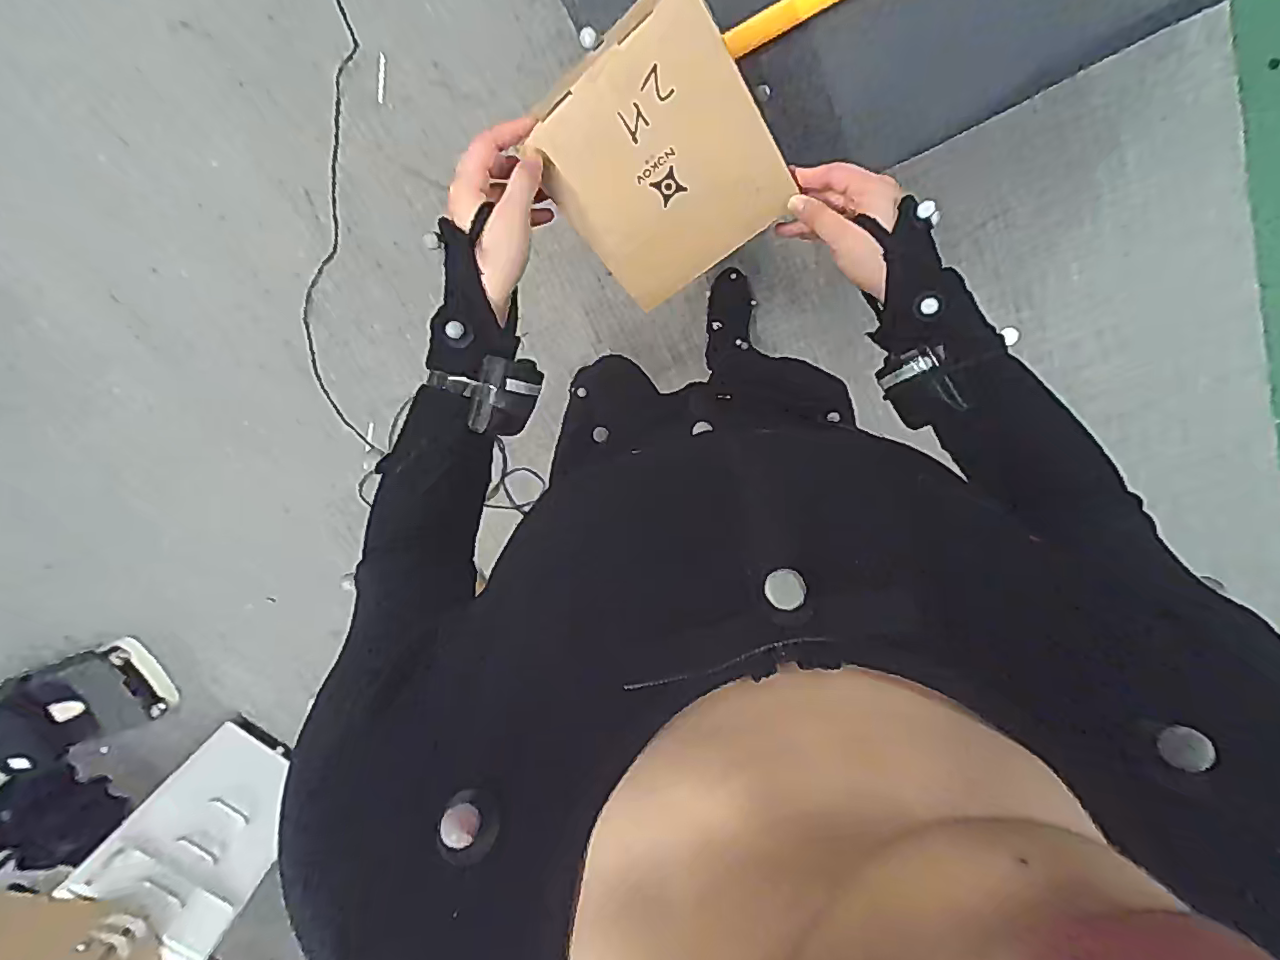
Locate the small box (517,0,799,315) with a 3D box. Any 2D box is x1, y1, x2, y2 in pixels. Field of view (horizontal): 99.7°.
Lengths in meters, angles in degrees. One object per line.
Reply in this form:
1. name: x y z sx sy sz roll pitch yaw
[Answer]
1. small box: 0.017 -0.295 0.490 0.168 0.176 0.179 -30 128 23
